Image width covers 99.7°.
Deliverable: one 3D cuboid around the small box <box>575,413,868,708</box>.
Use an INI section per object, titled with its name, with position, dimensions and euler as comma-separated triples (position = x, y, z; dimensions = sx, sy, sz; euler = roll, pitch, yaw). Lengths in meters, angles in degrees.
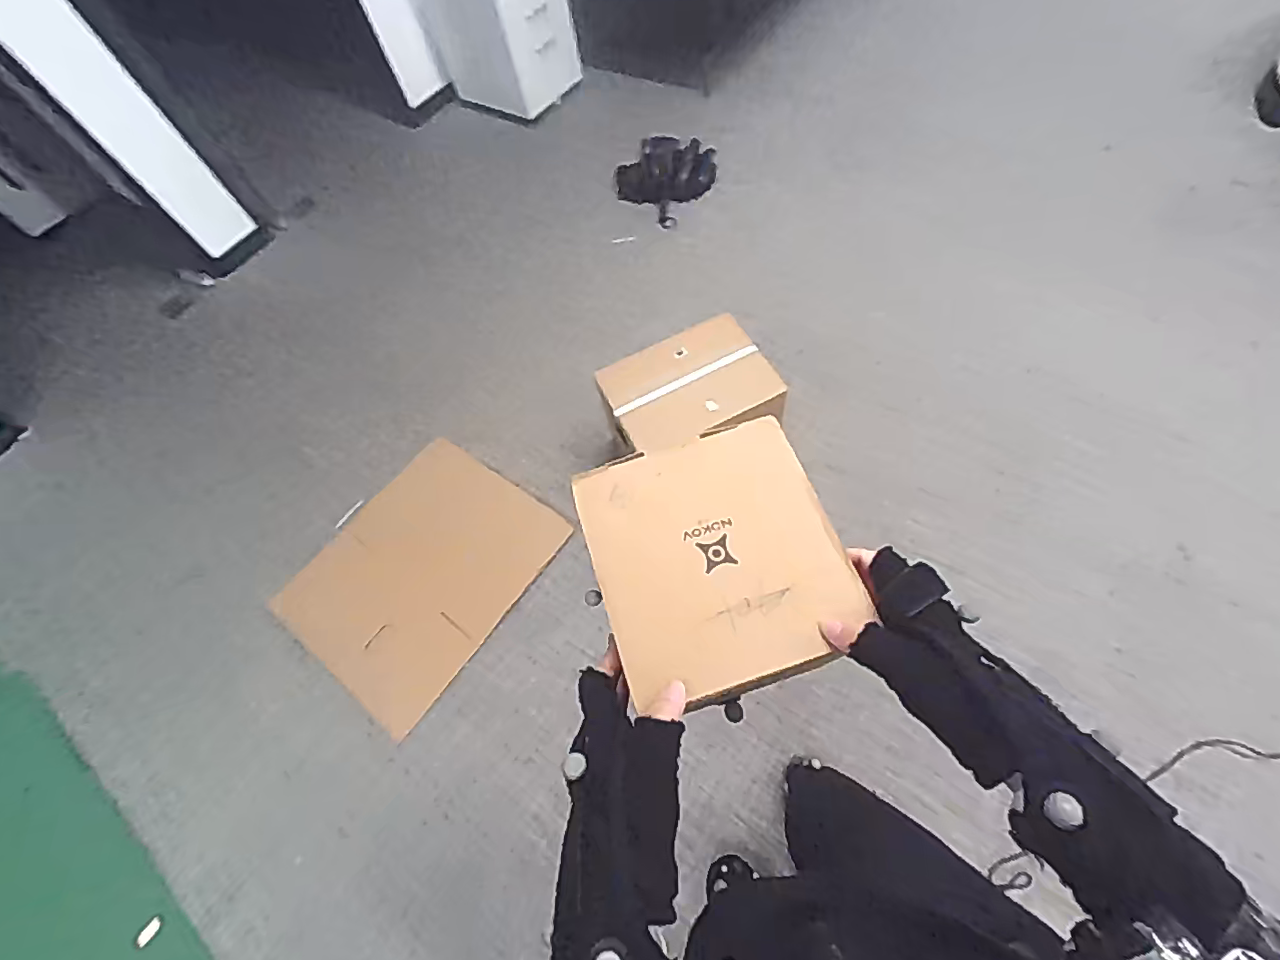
[small box]
position = 0.053, 0.076, 0.456
dimensions = 0.168, 0.176, 0.179
euler = -17, 64, -4
